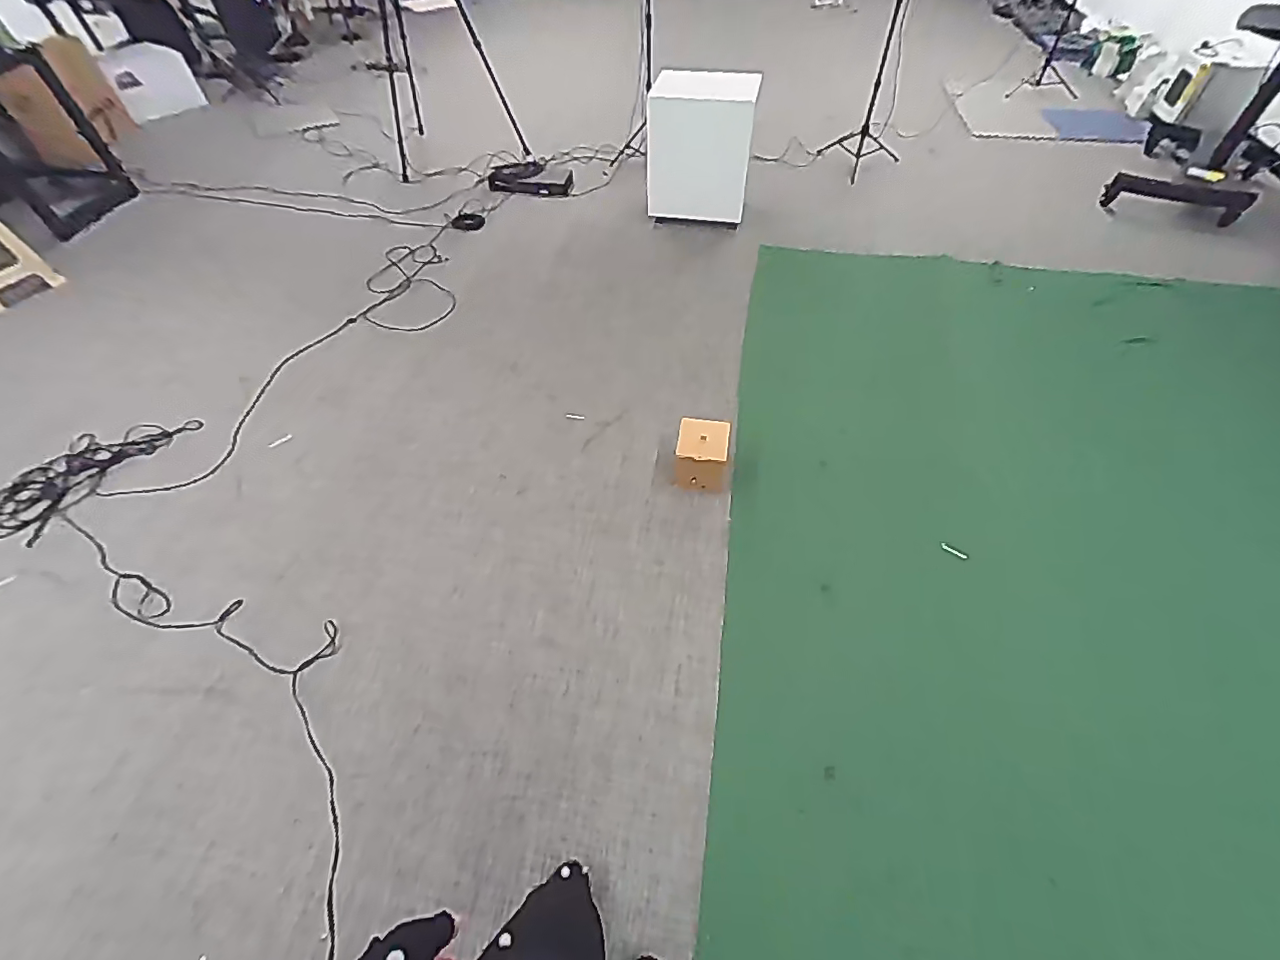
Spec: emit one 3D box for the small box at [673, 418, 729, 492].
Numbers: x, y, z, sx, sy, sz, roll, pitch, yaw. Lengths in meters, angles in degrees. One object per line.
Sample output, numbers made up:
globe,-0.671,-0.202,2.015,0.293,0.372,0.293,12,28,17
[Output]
small box,0.204,-0.083,1.837,0.168,0.176,0.179,7,52,7
